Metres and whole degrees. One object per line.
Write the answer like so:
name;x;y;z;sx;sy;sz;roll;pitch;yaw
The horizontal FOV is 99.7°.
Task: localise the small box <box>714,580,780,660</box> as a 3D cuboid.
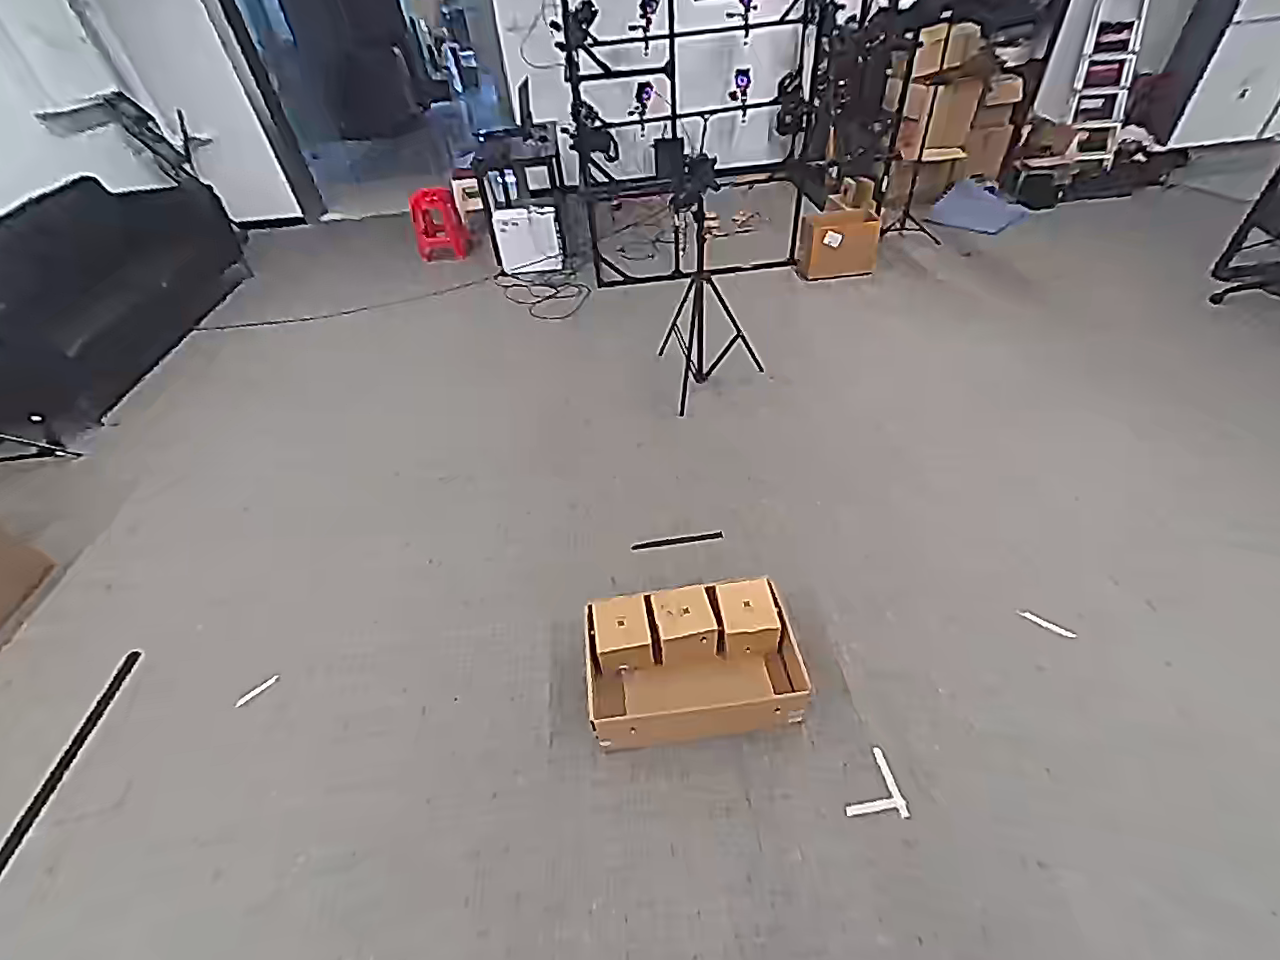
small box;0.331;0.442;1.708;0.168;0.176;0.179;-8;46;0
